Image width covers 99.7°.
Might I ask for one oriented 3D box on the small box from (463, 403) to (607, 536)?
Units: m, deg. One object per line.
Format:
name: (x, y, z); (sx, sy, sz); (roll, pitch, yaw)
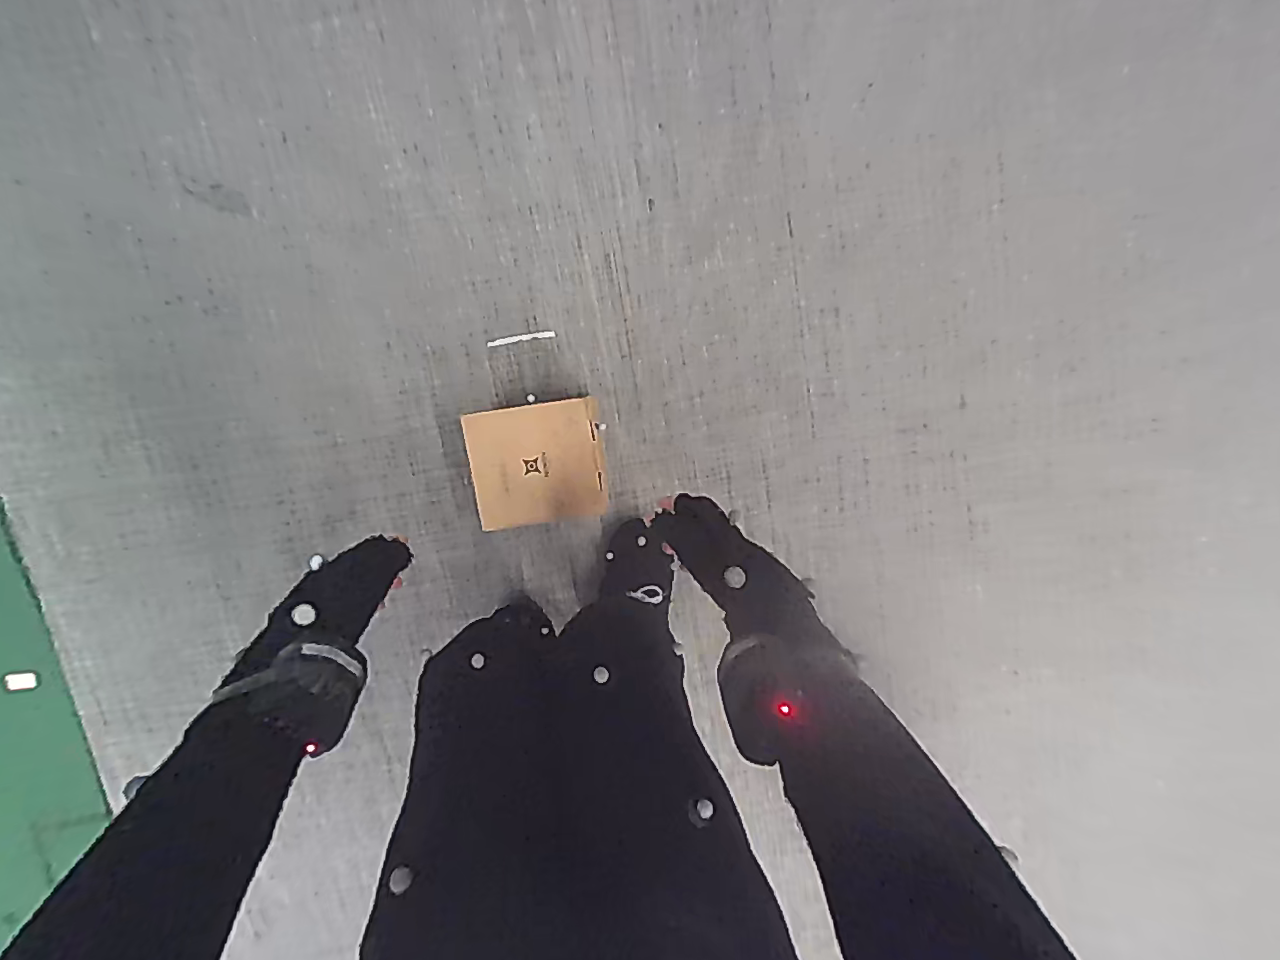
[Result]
small box: (-0.147, -0.025, 0.826); (0.179, 0.176, 0.168); (-9, 99, 1)
